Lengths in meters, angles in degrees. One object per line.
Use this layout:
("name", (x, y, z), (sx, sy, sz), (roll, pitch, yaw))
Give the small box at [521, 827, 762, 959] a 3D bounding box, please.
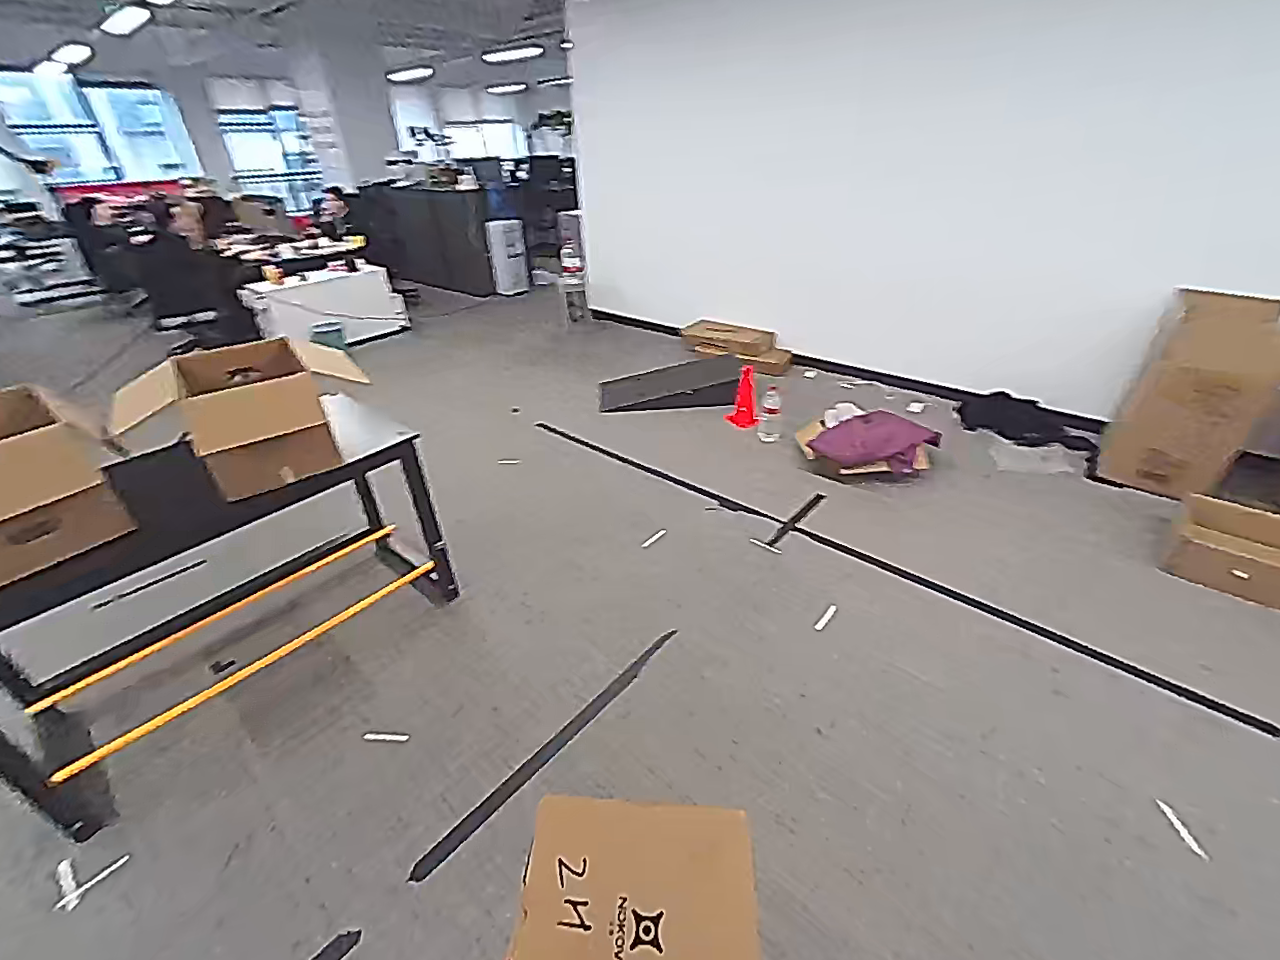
("small box", (0.001, 0.407, 0.436), (0.179, 0.176, 0.168), (1, 39, 3))
